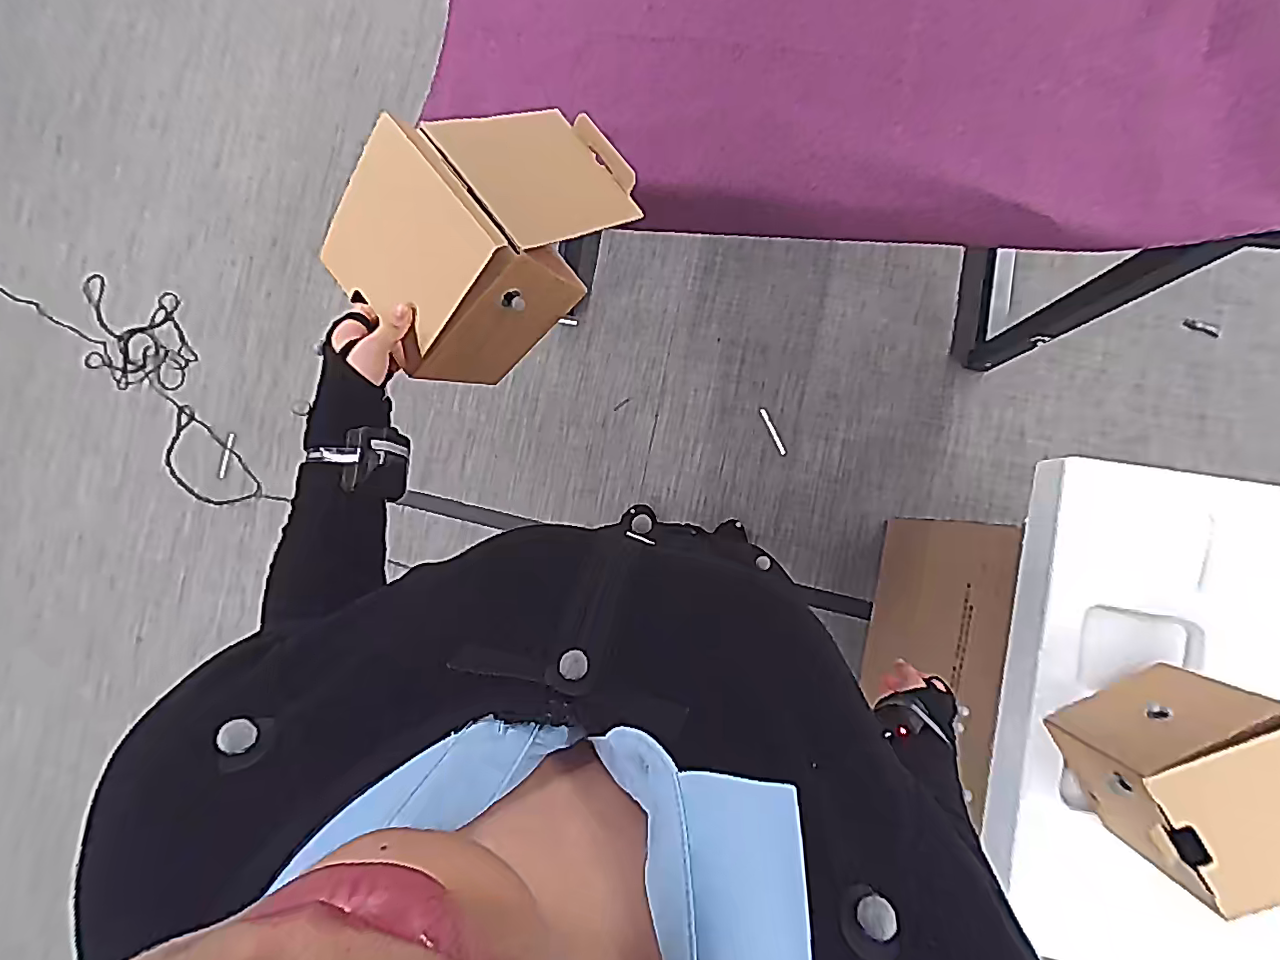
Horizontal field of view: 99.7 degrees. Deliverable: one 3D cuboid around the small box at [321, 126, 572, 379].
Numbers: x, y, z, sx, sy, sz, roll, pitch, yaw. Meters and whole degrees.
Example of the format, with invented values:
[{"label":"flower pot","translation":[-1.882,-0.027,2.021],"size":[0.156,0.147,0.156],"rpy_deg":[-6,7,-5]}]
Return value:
[{"label":"small box","translation":[-0.198,-0.234,0.608],"size":[0.179,0.176,0.168],"rpy_deg":[-39,84,17]}]
